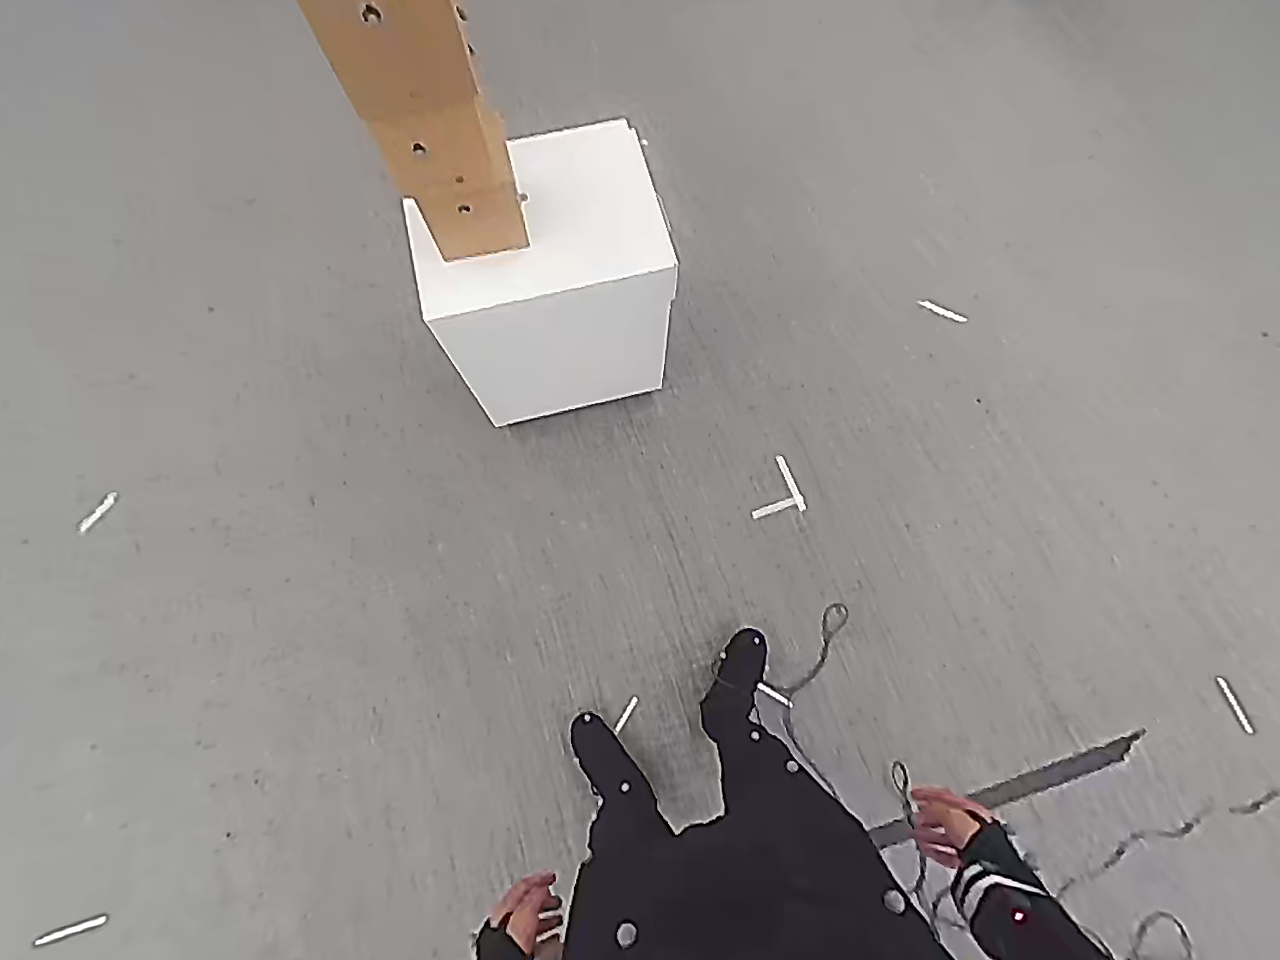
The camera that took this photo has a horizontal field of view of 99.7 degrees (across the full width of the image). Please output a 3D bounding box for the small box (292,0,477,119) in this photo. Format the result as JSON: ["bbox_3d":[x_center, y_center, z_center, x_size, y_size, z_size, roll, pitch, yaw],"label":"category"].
[{"bbox_3d":[-0.336,-0.620,0.718,0.179,0.176,0.168,-14,75,-5],"label":"small box"}]

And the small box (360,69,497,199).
[{"bbox_3d":[-0.341,-0.587,0.880,0.168,0.176,0.179,-11,74,-4],"label":"small box"}]

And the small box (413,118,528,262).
[{"bbox_3d":[-0.326,-0.545,1.037,0.179,0.176,0.168,-13,74,-5],"label":"small box"}]
